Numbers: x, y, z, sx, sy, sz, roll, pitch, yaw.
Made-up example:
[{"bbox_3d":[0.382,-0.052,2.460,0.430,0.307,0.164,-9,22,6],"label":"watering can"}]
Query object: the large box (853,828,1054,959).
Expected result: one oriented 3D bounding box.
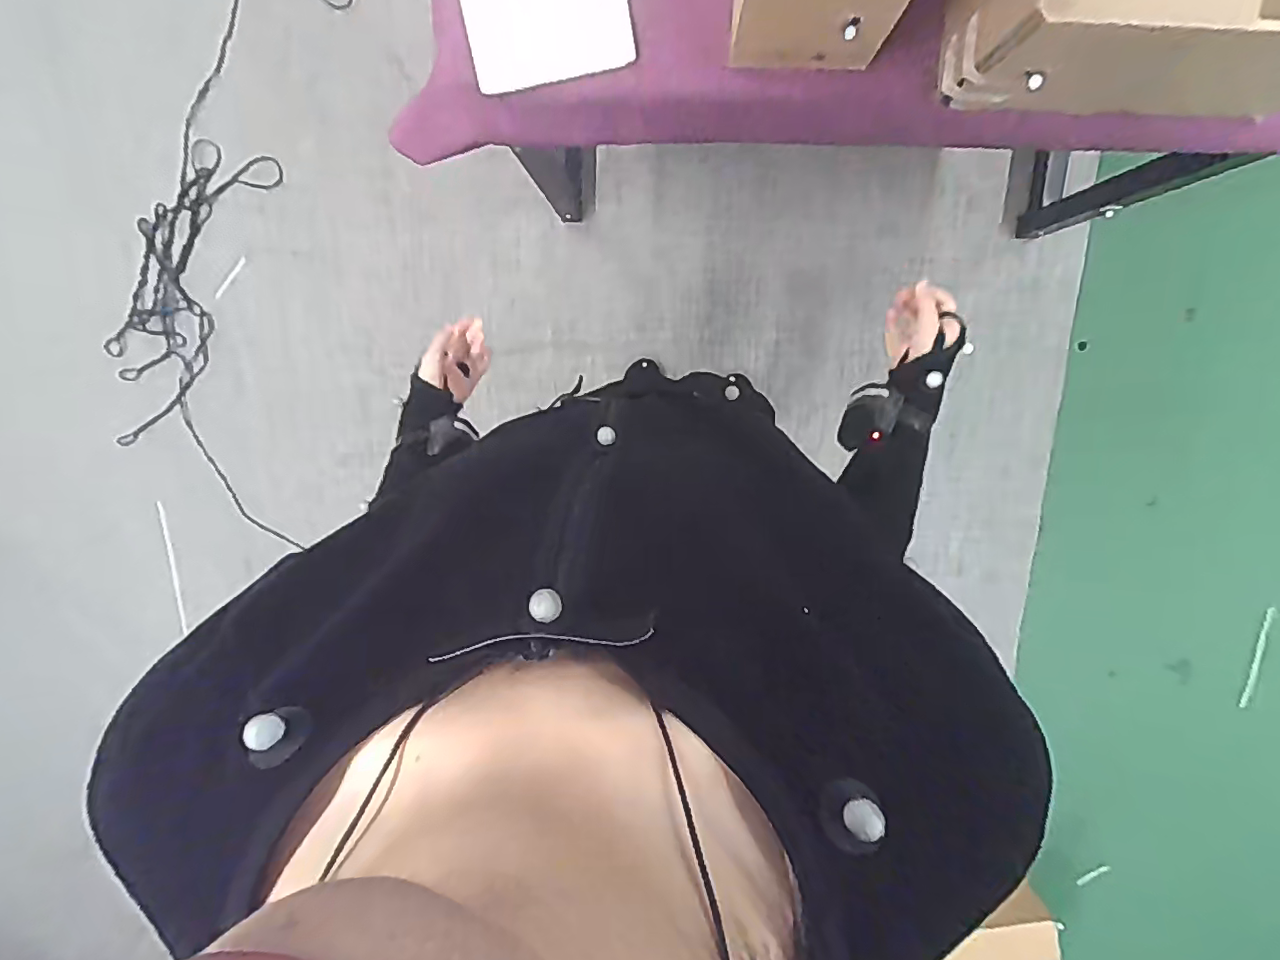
[{"bbox_3d":[0.893,1.291,1.572,0.408,0.320,0.320,-12,101,4],"label":"large box"}]
